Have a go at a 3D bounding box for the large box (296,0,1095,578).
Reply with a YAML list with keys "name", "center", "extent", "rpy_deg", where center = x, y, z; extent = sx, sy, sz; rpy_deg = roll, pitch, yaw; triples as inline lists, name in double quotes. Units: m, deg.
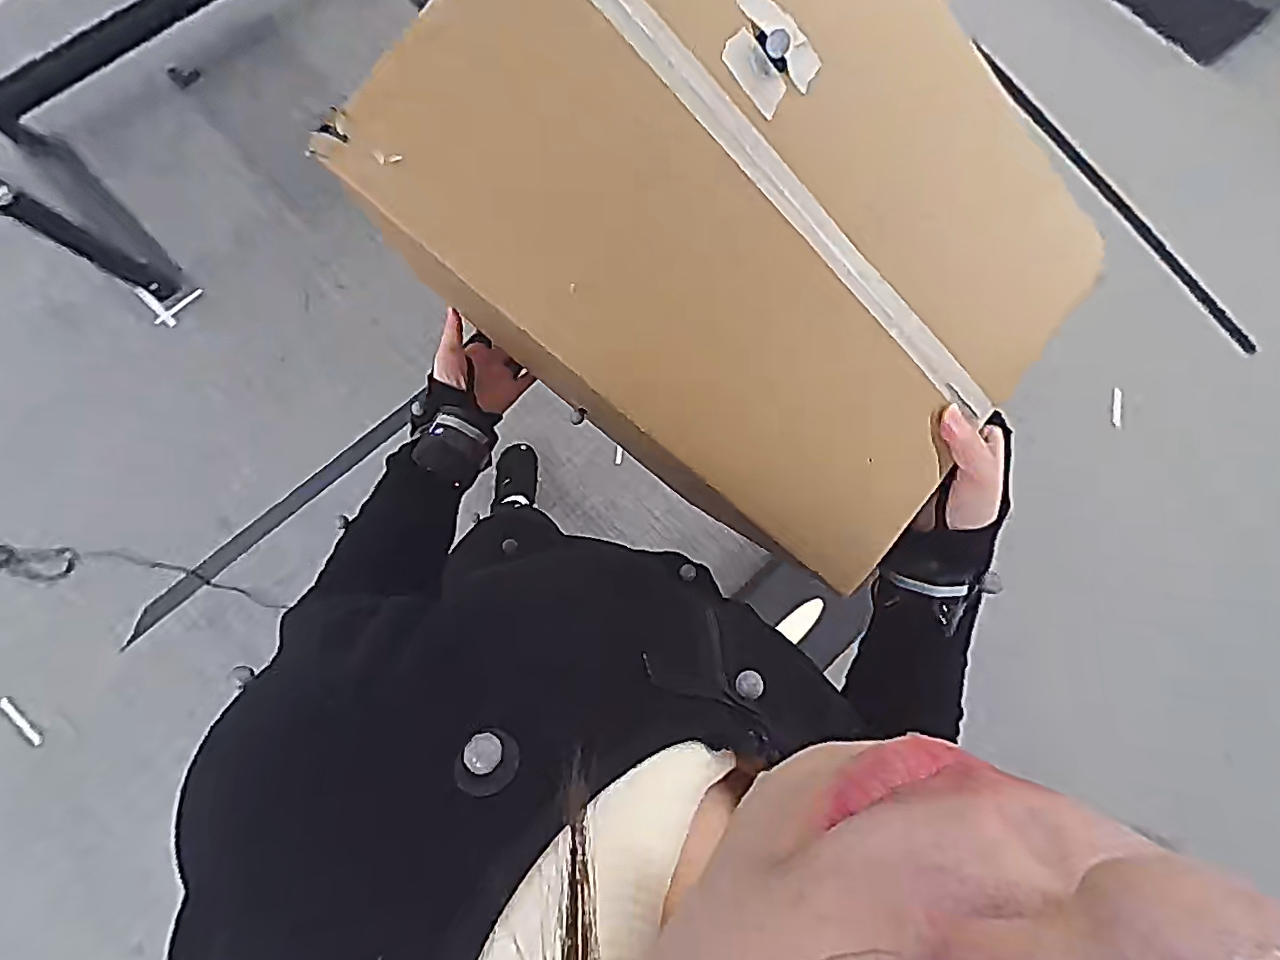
- name: "large box"
  center: [0.041, -0.185, 0.459]
  extent: [0.408, 0.320, 0.320]
  rpy_deg: [37, 88, -17]
